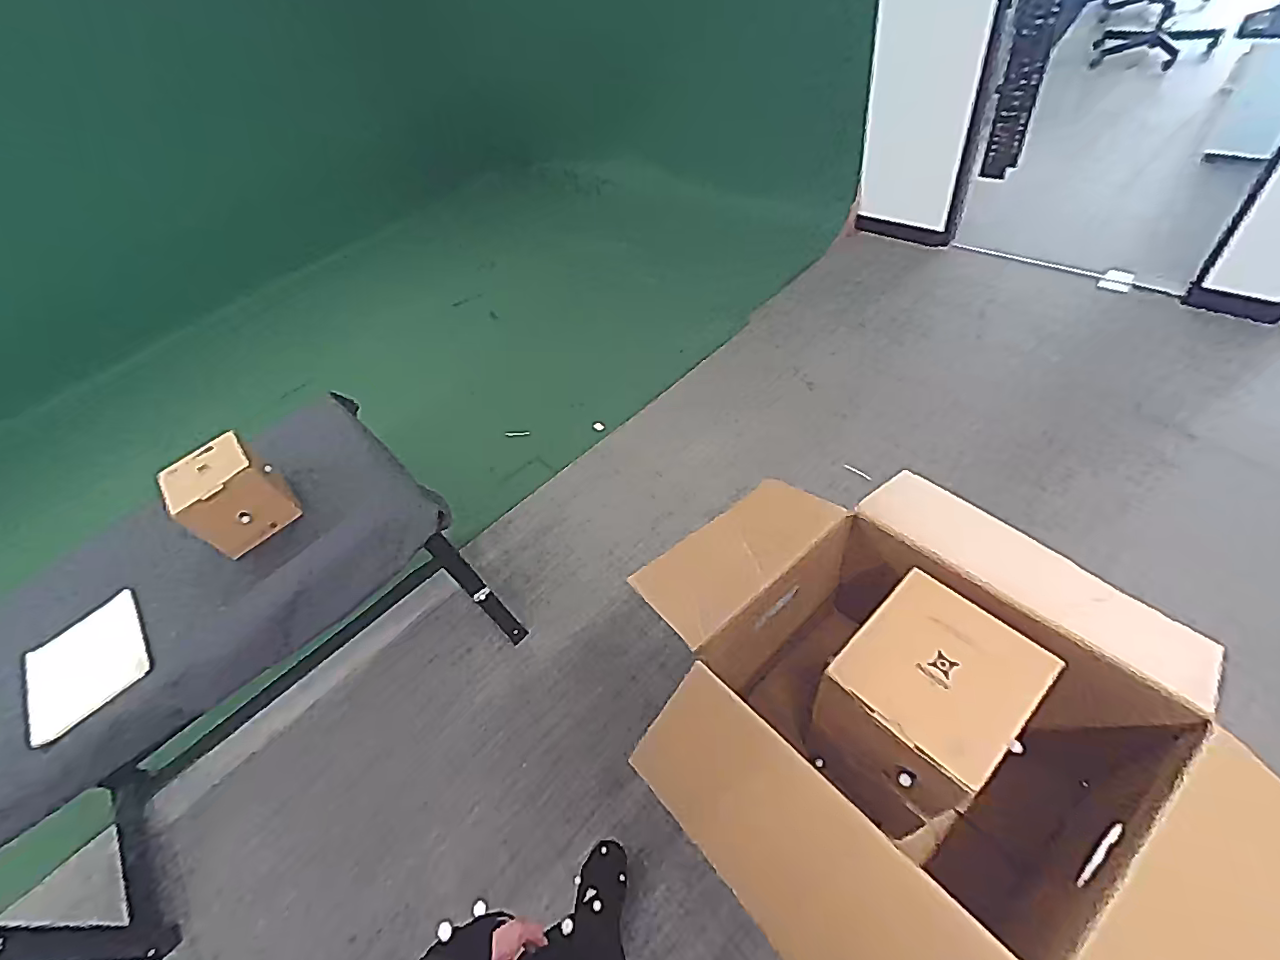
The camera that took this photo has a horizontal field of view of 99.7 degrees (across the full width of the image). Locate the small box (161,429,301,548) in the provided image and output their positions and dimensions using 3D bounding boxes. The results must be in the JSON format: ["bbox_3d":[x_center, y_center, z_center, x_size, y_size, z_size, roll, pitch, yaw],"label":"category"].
[{"bbox_3d":[-0.890,0.026,1.188,0.168,0.176,0.179,-40,54,-19],"label":"small box"}]
